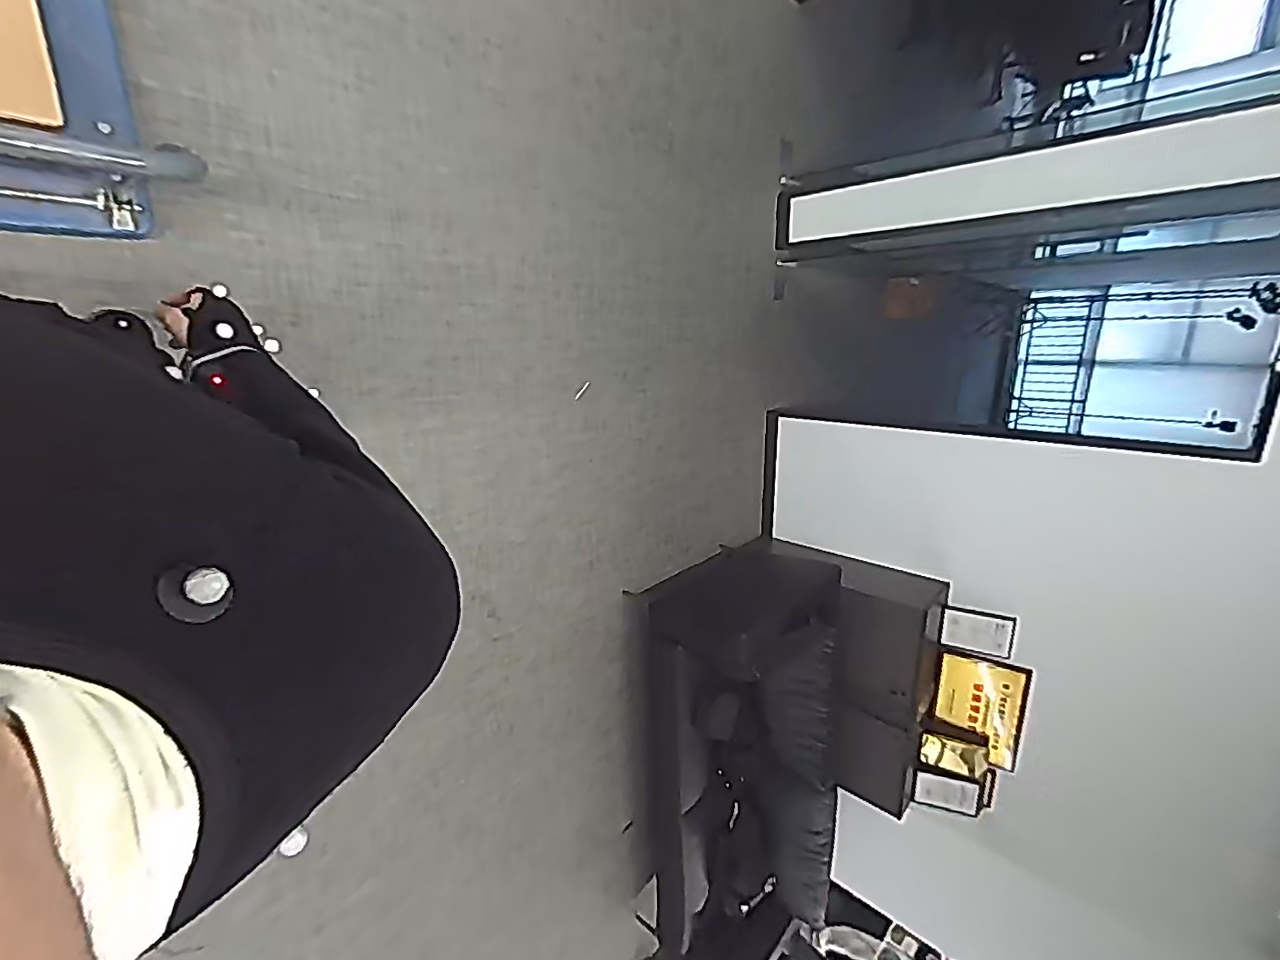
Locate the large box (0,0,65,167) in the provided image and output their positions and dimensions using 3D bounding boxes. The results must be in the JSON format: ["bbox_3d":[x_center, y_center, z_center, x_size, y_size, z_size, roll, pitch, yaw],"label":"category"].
[{"bbox_3d":[-1.039,-0.692,0.713,0.320,0.320,0.408,-16,111,-46],"label":"large box"}]
